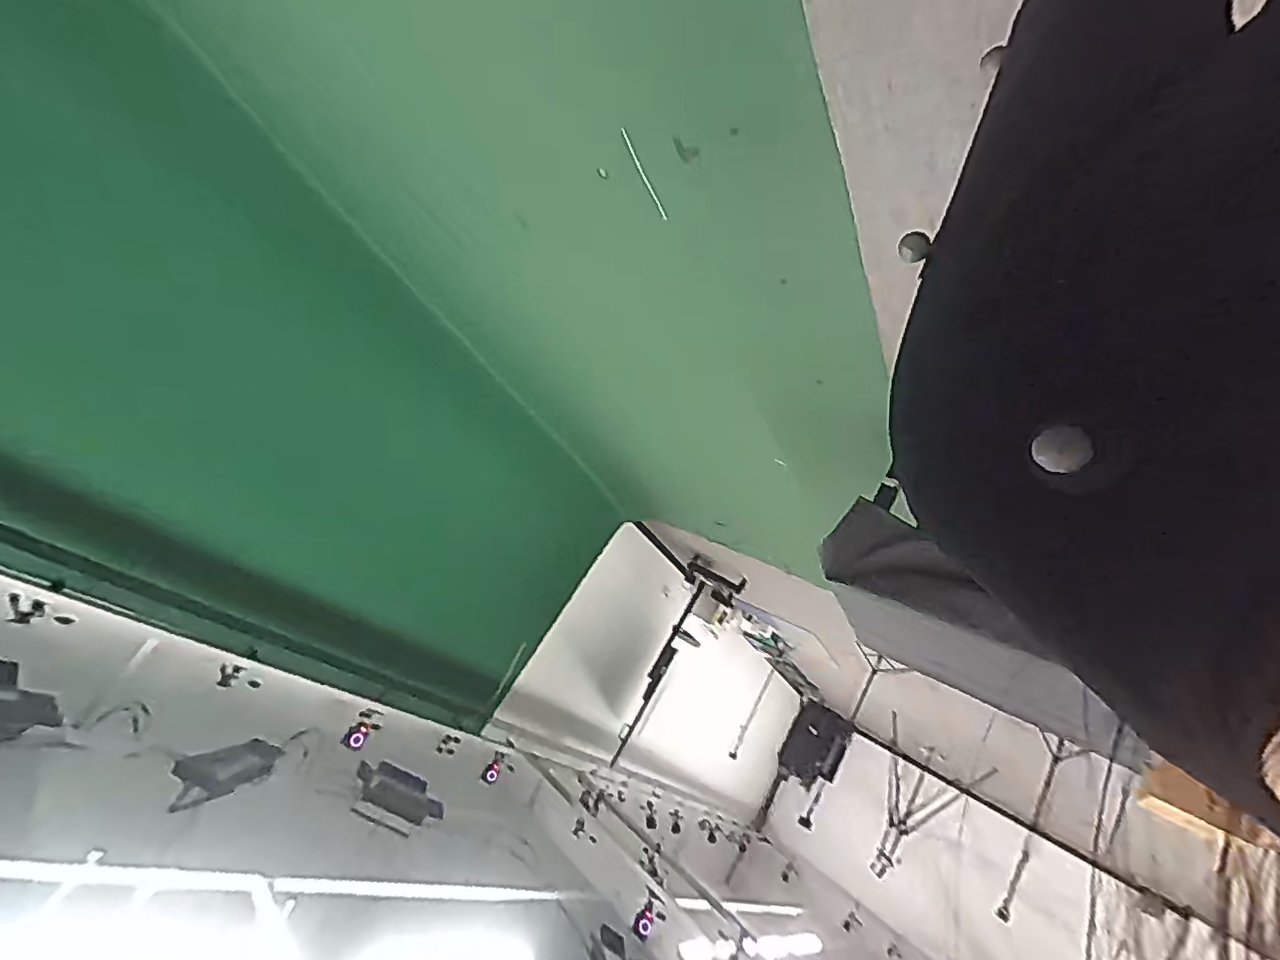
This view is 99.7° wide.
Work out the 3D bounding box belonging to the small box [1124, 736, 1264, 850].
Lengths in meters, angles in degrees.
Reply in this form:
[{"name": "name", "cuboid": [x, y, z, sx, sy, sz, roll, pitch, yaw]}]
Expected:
[{"name": "small box", "cuboid": [1.284, 0.720, 1.260, 0.179, 0.176, 0.168, 21, 159, 36]}]
